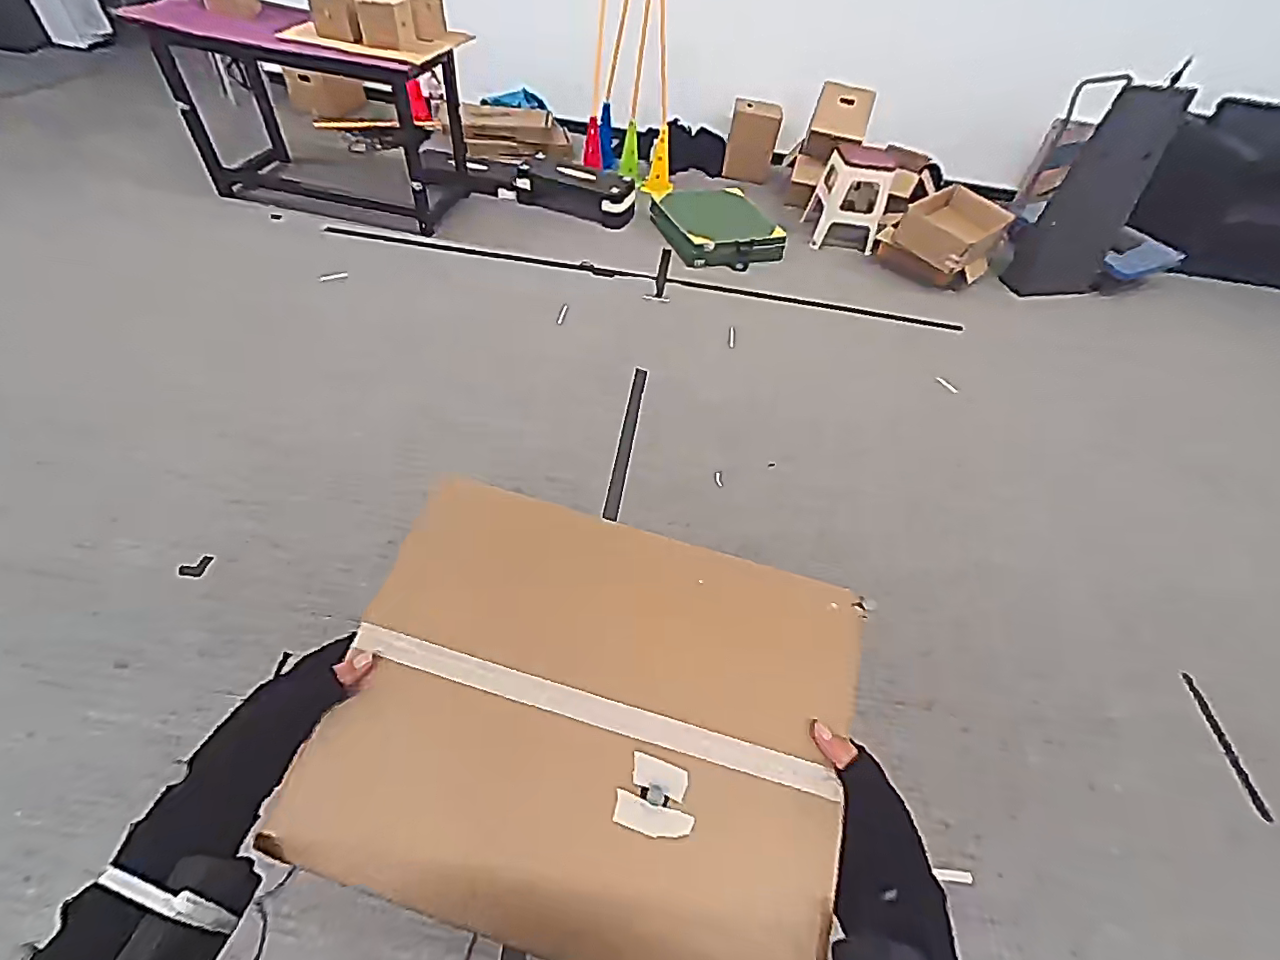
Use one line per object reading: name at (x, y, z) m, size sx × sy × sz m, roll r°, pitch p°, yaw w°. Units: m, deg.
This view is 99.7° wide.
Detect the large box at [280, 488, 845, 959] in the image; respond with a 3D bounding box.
large box at (-0.047, 0.251, 0.582) m, size 0.408 × 0.320 × 0.320 m, roll 15°, pitch 65°, yaw 4°
